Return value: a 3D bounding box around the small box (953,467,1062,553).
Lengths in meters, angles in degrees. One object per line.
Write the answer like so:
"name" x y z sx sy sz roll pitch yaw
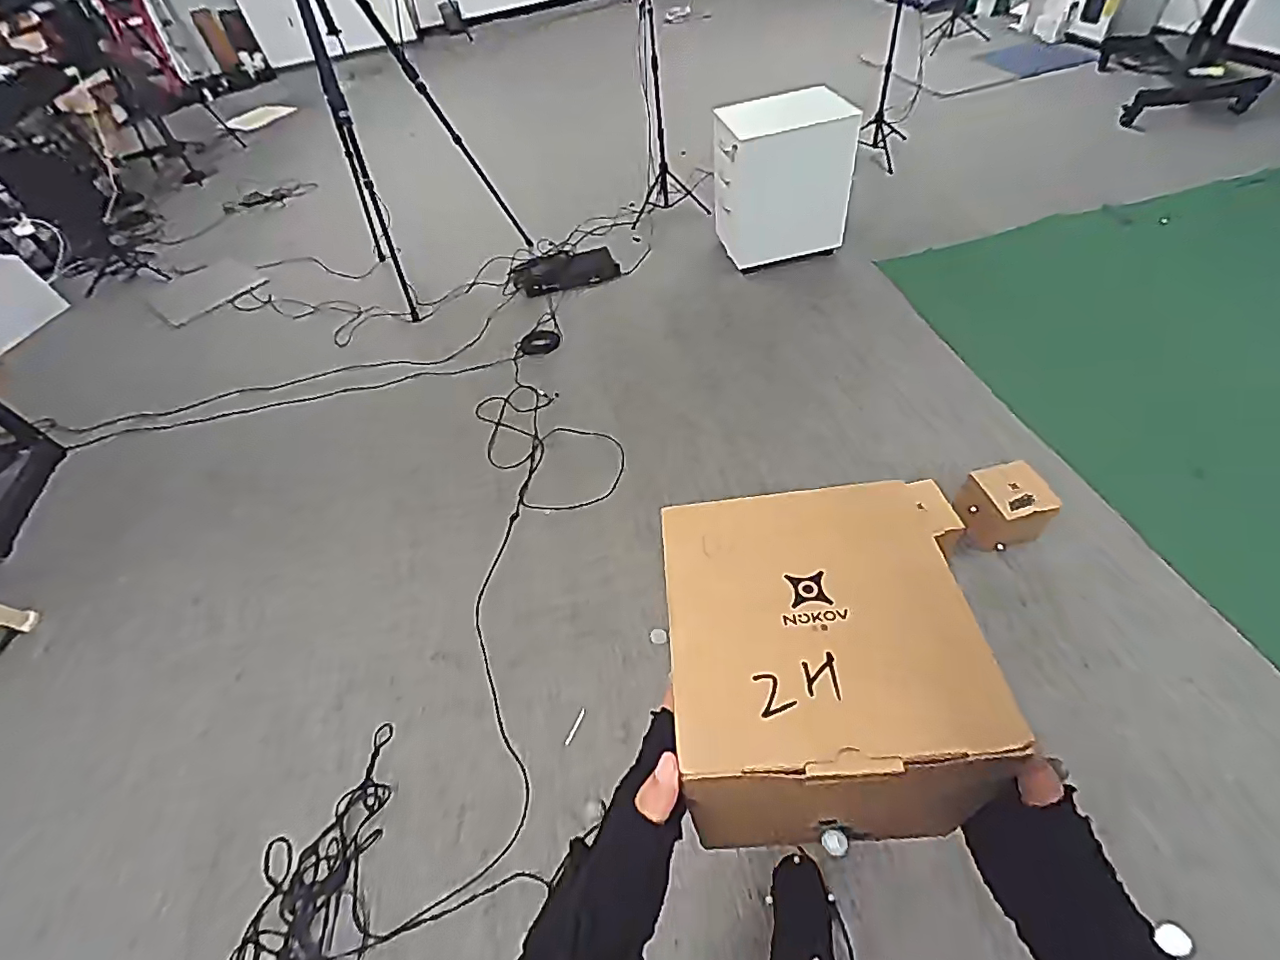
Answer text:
"small box" 1.048 0.094 1.559 0.168 0.176 0.179 -13 49 -2

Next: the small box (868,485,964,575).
"small box" 0.784 0.145 1.558 0.168 0.176 0.179 -12 50 -2
